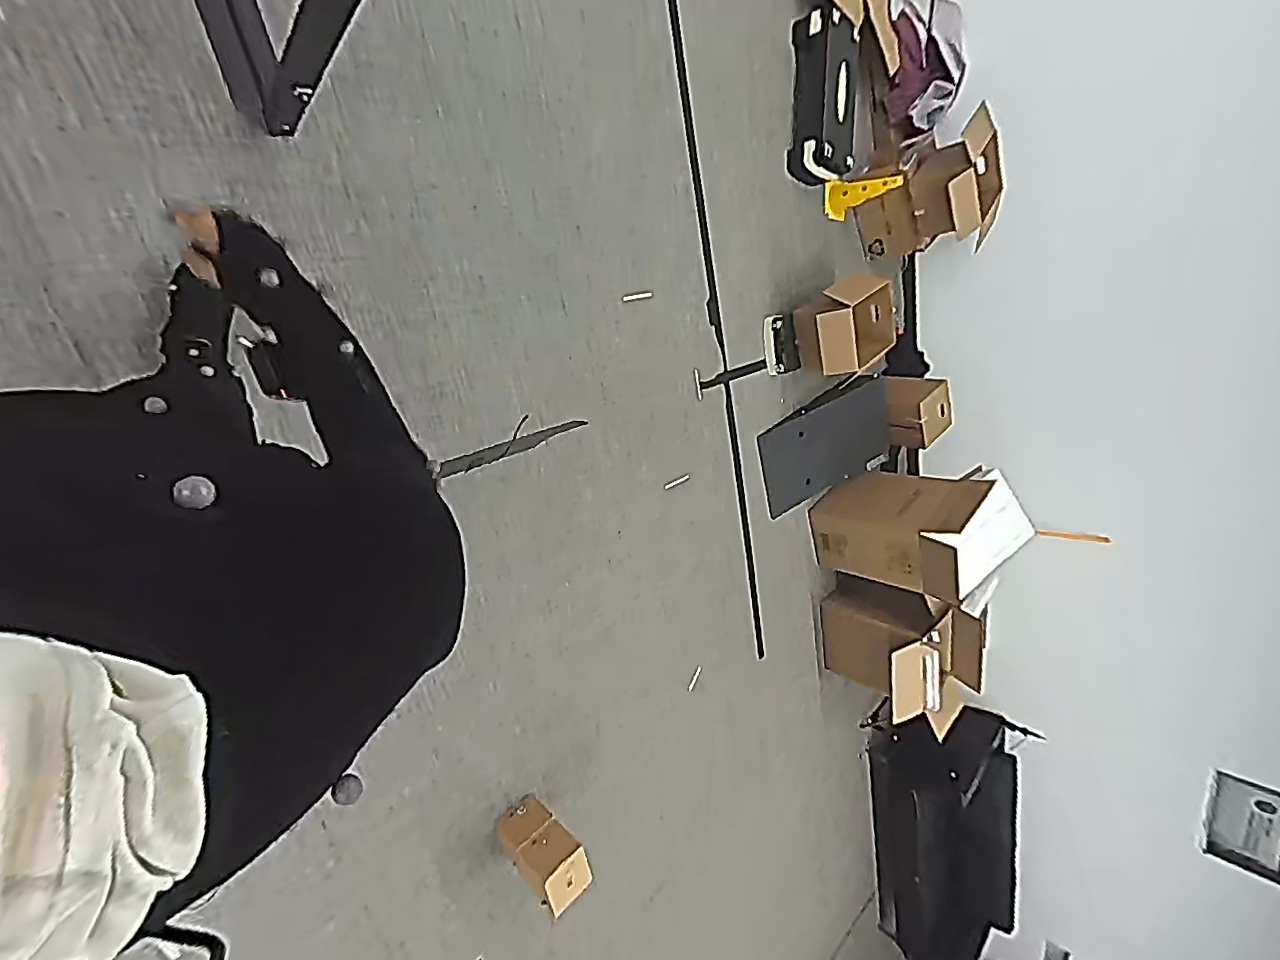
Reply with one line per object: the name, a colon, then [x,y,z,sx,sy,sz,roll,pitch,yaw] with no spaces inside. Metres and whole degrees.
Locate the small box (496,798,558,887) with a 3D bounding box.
small box: [-0.403,1.320,1.985,0.168,0.176,0.179,-26,114,-39]

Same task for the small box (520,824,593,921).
small box: [-0.290,1.347,1.868,0.168,0.176,0.179,-27,113,-39]
